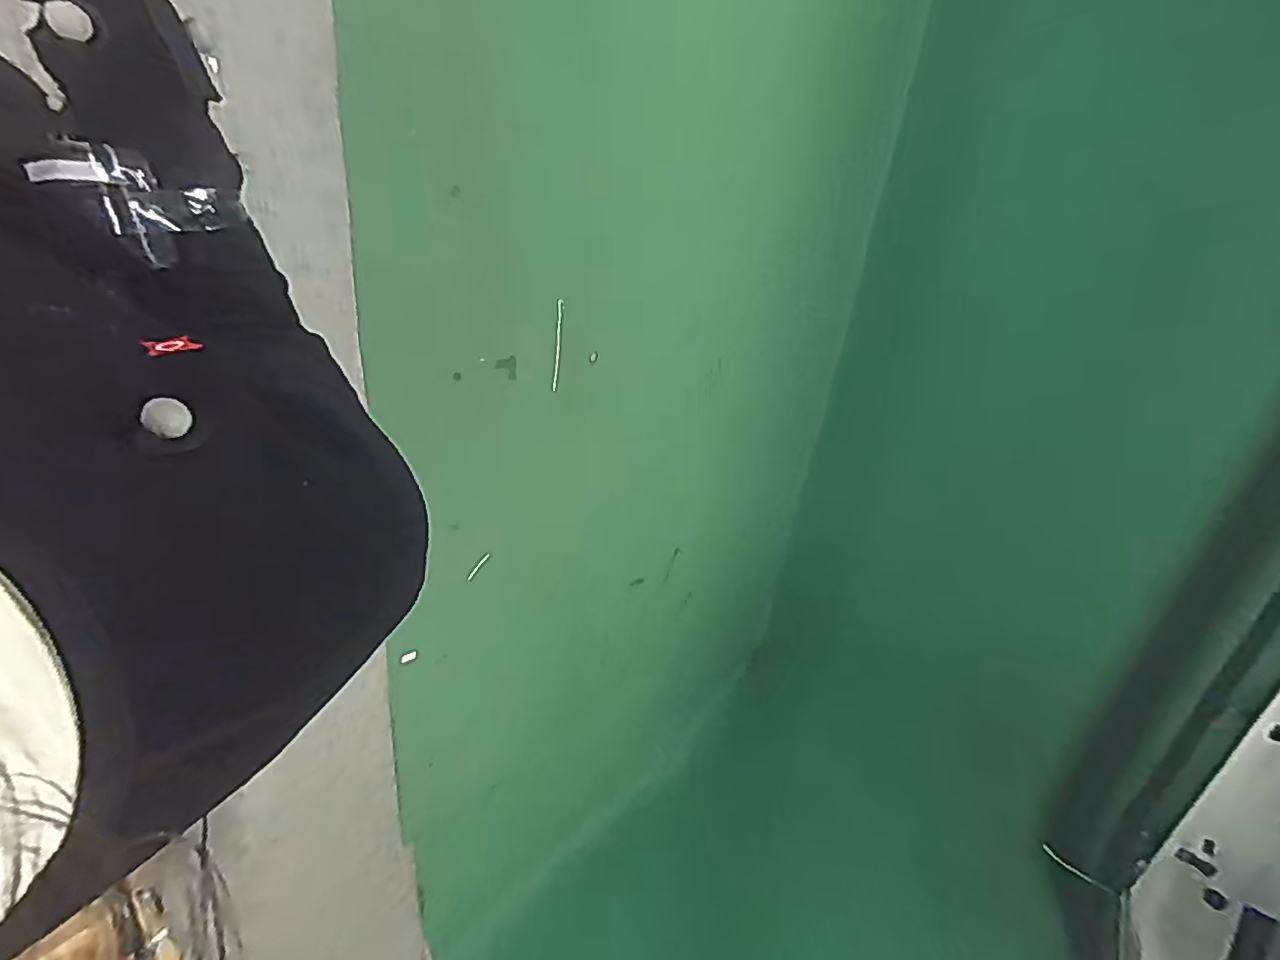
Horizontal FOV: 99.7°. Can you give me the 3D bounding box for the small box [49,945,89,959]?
[{"bbox_3d":[-1.126,1.040,1.002,0.179,0.176,0.168,-21,125,-46],"label":"small box"}]
